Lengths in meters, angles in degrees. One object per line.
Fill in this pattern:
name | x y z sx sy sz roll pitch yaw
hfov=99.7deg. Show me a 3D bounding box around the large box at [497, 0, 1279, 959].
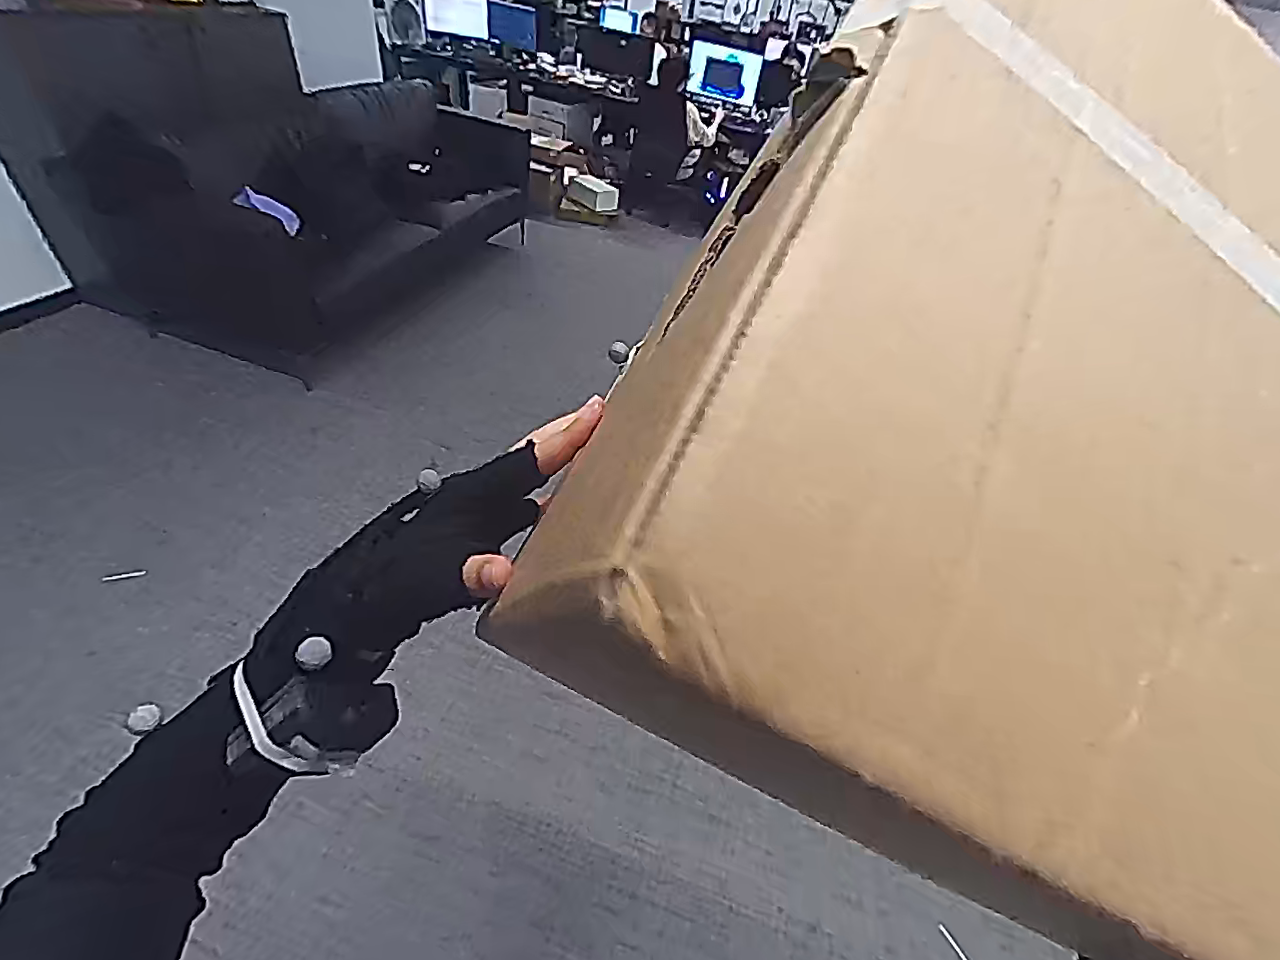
large box | 0.181 0.029 0.311 0.408 0.320 0.320 32 68 -10
